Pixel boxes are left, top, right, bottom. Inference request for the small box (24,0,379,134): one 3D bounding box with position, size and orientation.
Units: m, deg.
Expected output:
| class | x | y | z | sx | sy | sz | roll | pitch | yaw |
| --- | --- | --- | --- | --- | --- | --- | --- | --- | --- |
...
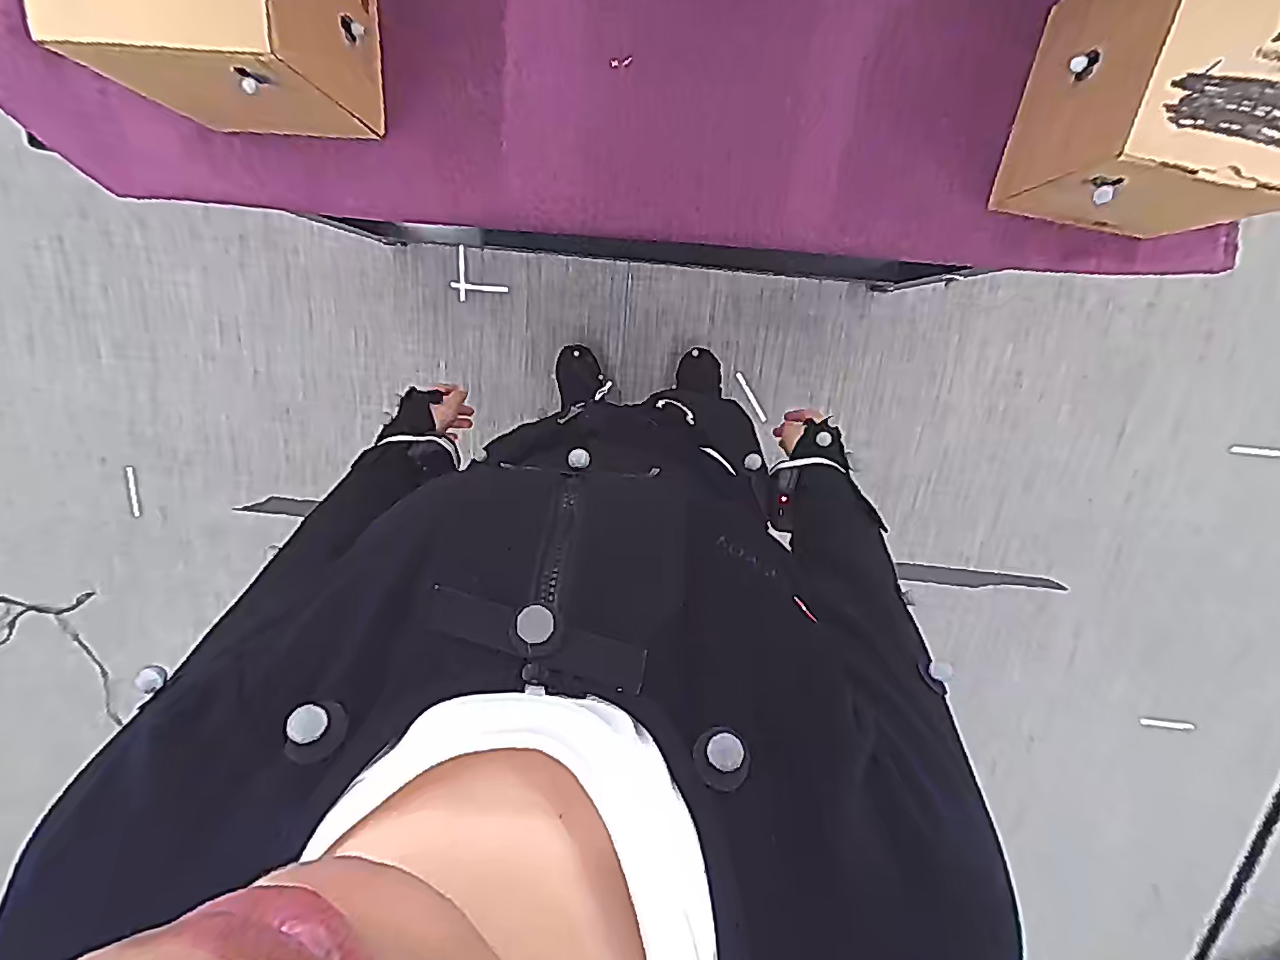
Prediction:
| class | x | y | z | sx | sy | sz | roll | pitch | yaw |
| --- | --- | --- | --- | --- | --- | --- | --- | --- | --- |
| small box | -0.344 | -0.408 | 0.446 | 0.179 | 0.176 | 0.168 | 2 | 104 | 0 |
